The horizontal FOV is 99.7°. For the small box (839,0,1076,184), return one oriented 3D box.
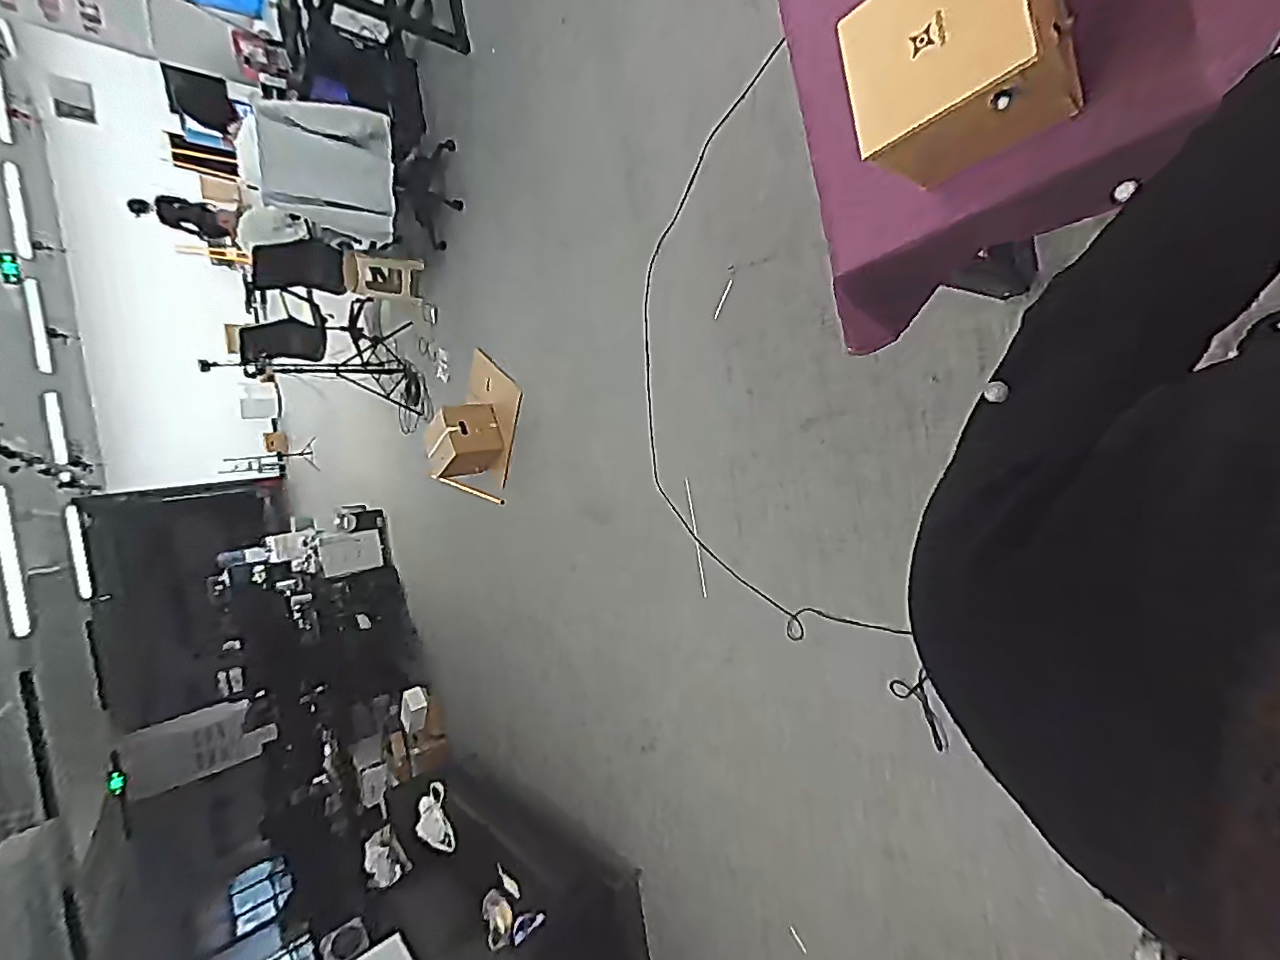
[{"bbox_3d":[0.361,-0.474,0.619,0.179,0.176,0.168,-11,89,48],"label":"small box"}]
